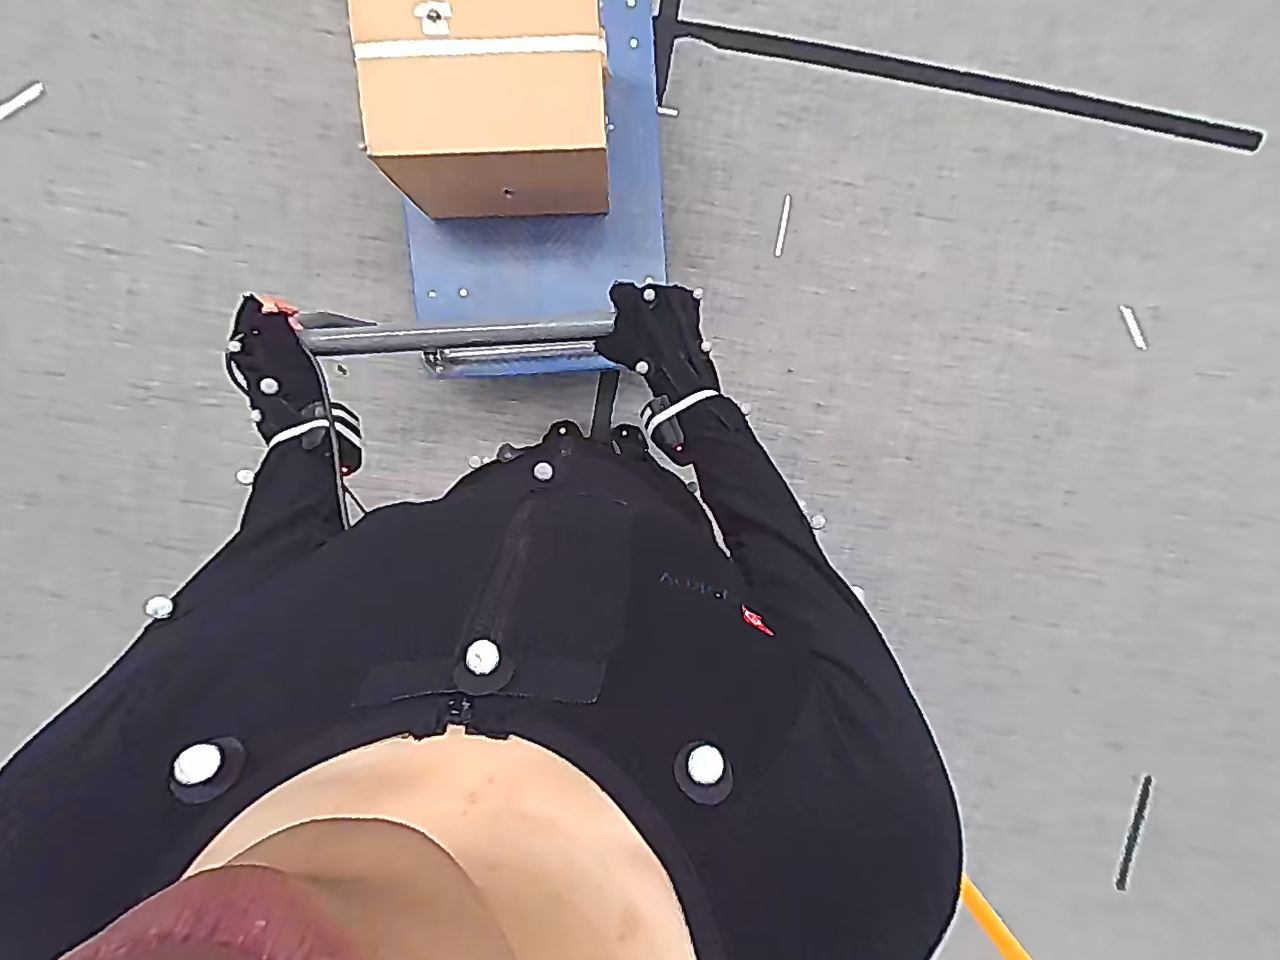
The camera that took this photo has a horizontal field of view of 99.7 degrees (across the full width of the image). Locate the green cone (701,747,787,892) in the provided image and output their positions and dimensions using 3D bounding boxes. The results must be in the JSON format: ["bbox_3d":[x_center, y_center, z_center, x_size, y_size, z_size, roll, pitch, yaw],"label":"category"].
[{"bbox_3d":[0.305,0.917,1.431,0.202,0.368,0.200,12,97,-5],"label":"green cone"}]

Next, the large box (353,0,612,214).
[{"bbox_3d":[-0.267,-0.728,1.039,0.408,0.320,0.320,-3,98,-1],"label":"large box"}]
